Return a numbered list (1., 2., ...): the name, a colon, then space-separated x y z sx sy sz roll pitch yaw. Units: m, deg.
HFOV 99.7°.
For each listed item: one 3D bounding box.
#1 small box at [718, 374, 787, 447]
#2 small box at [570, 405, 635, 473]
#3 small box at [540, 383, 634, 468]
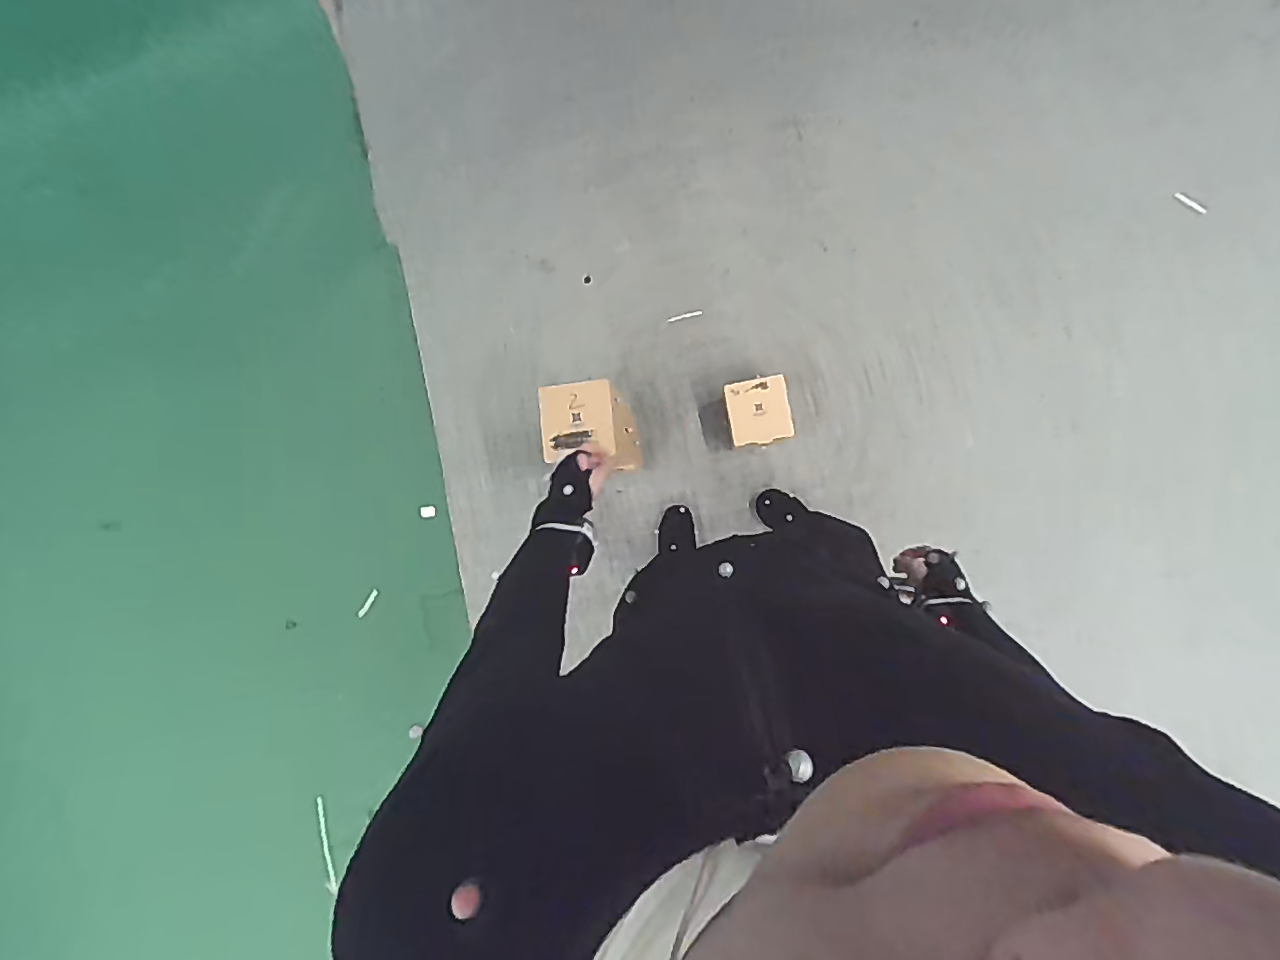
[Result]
1. small box: 0.317 -0.190 1.546 0.168 0.176 0.179 -9 88 7
2. small box: -0.110 -0.115 1.599 0.168 0.176 0.179 -6 87 7
3. small box: -0.135 -0.137 1.447 0.179 0.176 0.168 26 94 7
